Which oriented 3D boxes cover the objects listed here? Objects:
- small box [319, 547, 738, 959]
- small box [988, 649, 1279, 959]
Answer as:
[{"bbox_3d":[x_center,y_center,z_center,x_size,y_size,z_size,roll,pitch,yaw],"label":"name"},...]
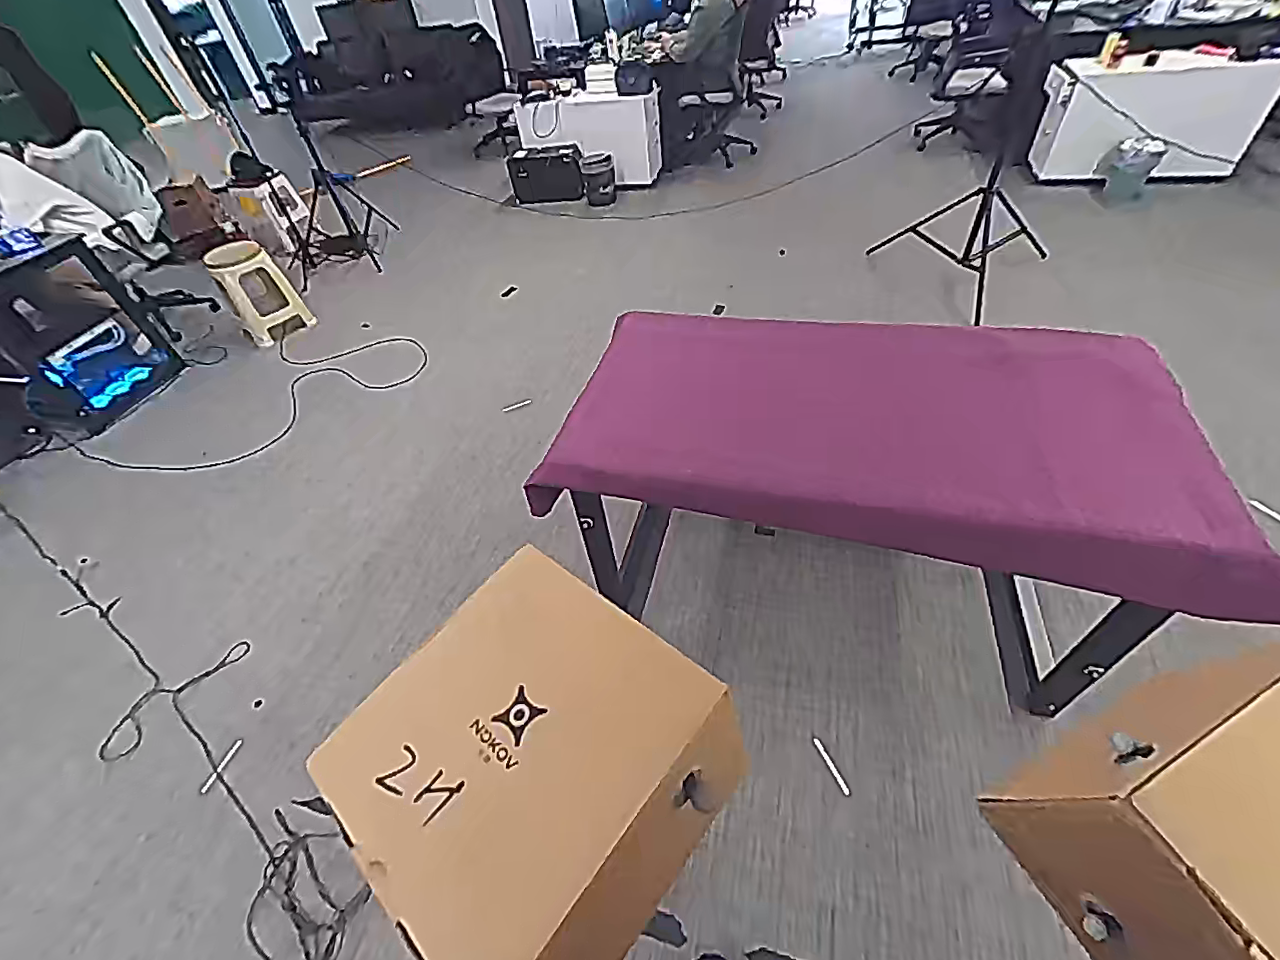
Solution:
[{"bbox_3d":[-0.050,0.183,0.350,0.168,0.176,0.179,28,63,33],"label":"small box"},{"bbox_3d":[0.349,0.213,0.303,0.179,0.176,0.168,-28,60,-10],"label":"small box"}]
